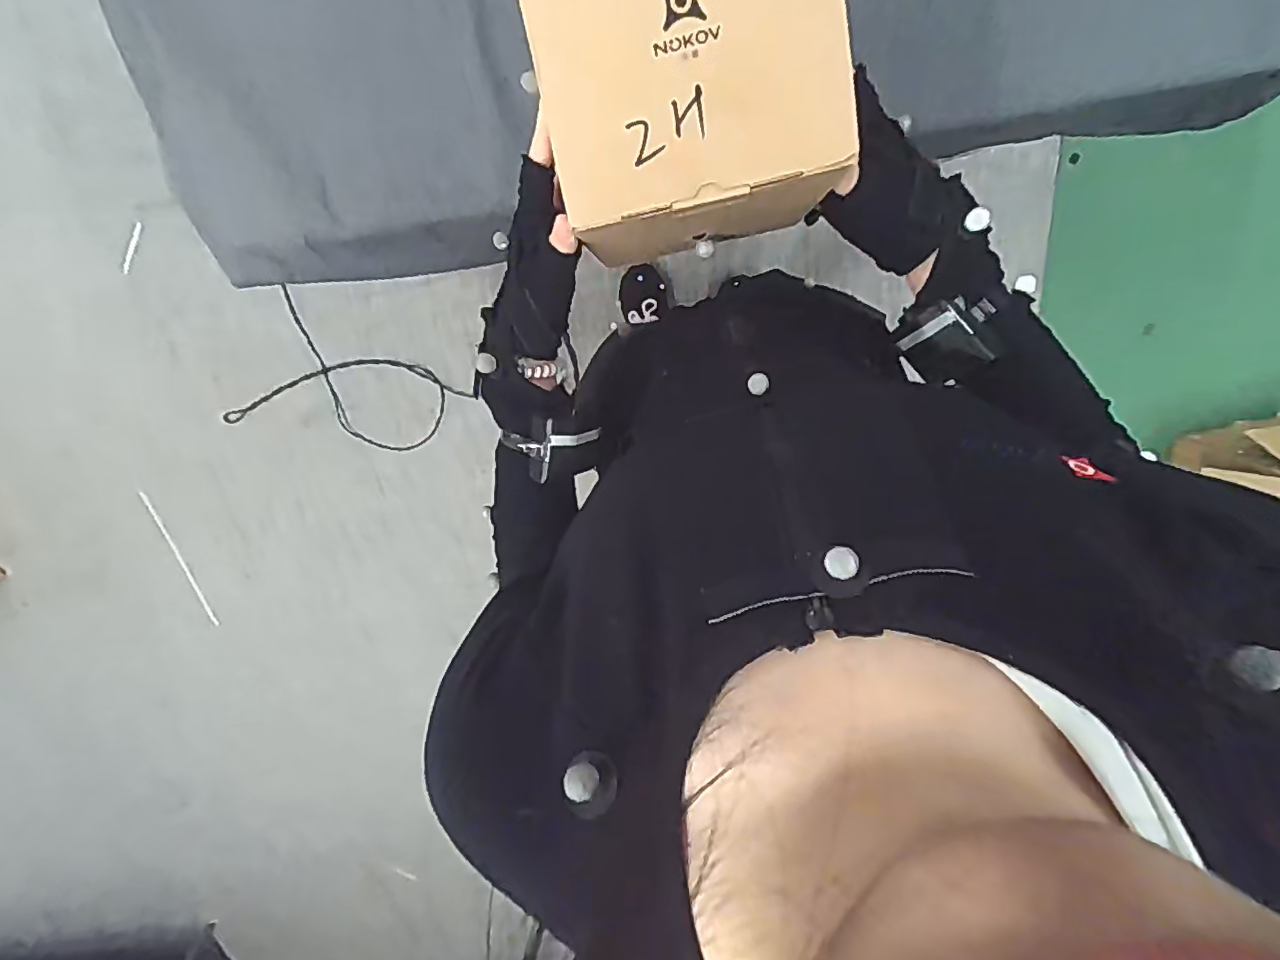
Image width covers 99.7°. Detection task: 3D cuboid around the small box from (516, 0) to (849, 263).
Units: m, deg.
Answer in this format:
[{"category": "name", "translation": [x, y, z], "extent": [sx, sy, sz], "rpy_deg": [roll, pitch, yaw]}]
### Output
[{"category": "small box", "translation": [0.024, -0.260, 0.360], "extent": [0.168, 0.176, 0.179], "rpy_deg": [-10, 104, 8]}]
